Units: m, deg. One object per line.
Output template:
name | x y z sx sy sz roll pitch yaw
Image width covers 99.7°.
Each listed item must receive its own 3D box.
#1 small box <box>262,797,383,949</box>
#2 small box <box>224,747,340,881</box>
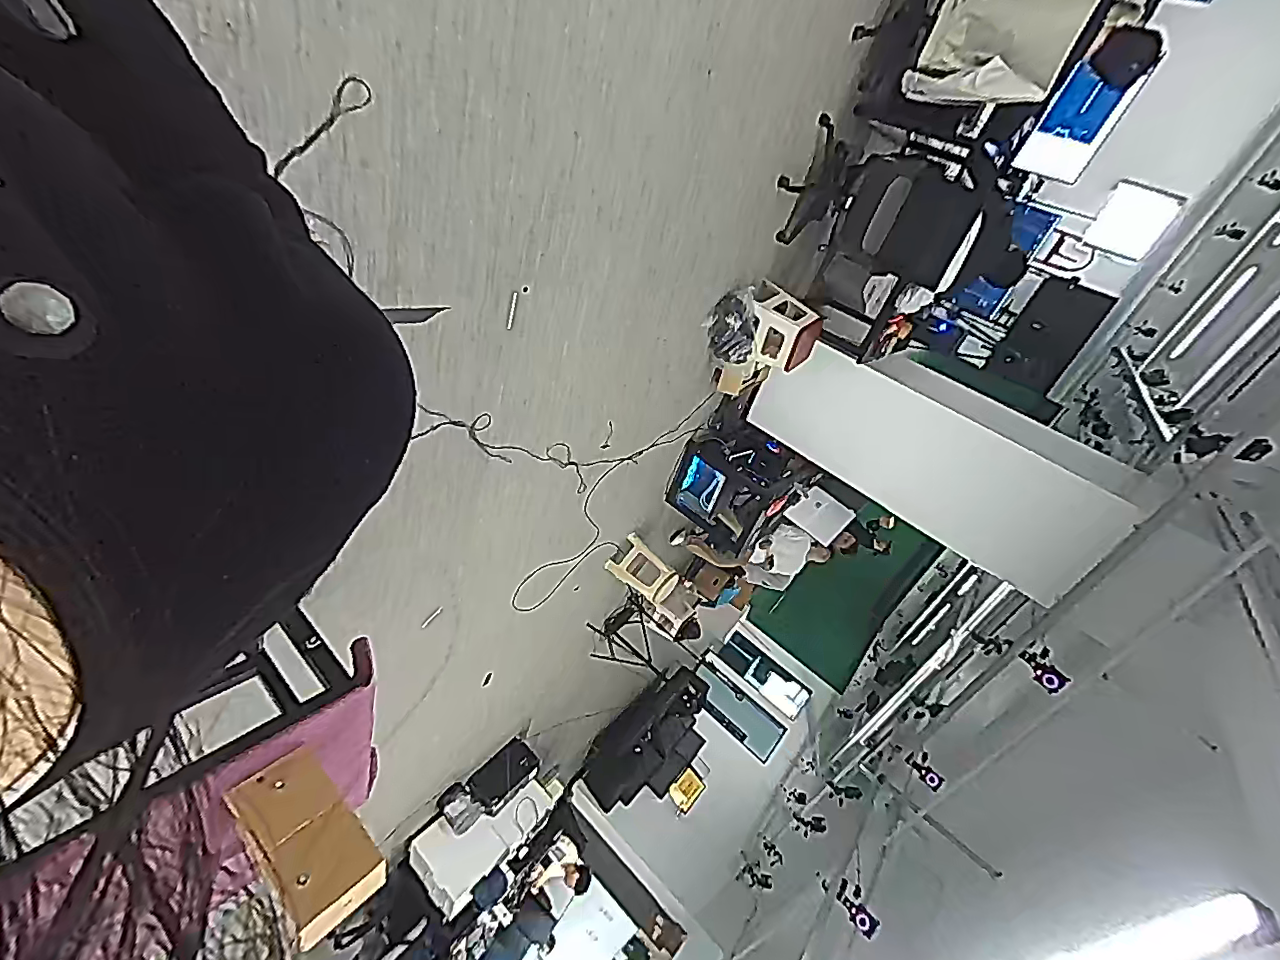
small box | -0.682 0.837 1.163 0.179 0.176 0.168 -29 149 -46
small box | -0.803 0.747 1.223 0.168 0.176 0.179 -28 147 -47
